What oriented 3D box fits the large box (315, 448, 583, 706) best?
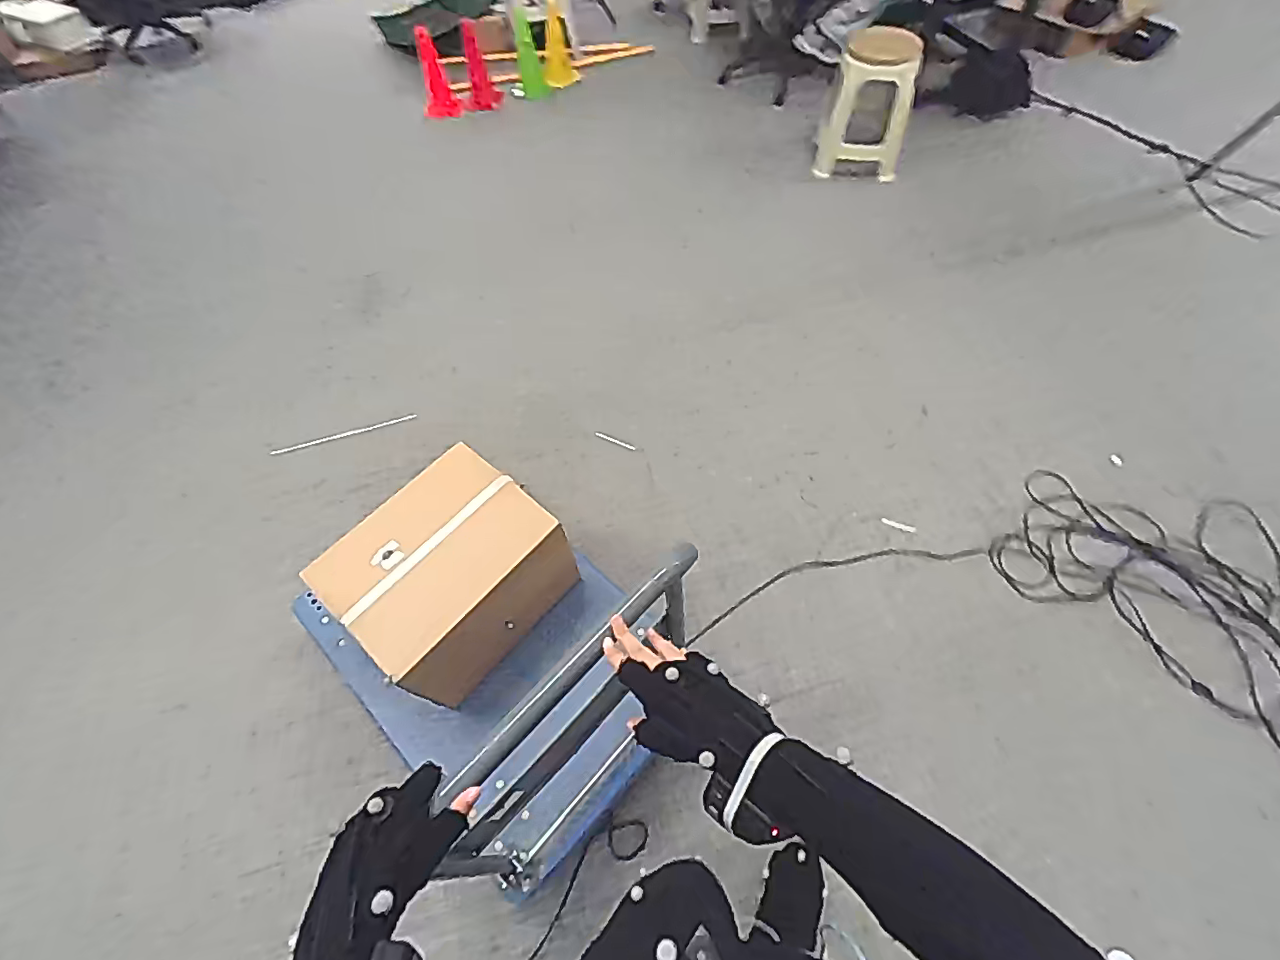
[{"bbox_3d":[-0.380,0.215,1.187,0.320,0.320,0.408,35,67,21],"label":"large box"}]
